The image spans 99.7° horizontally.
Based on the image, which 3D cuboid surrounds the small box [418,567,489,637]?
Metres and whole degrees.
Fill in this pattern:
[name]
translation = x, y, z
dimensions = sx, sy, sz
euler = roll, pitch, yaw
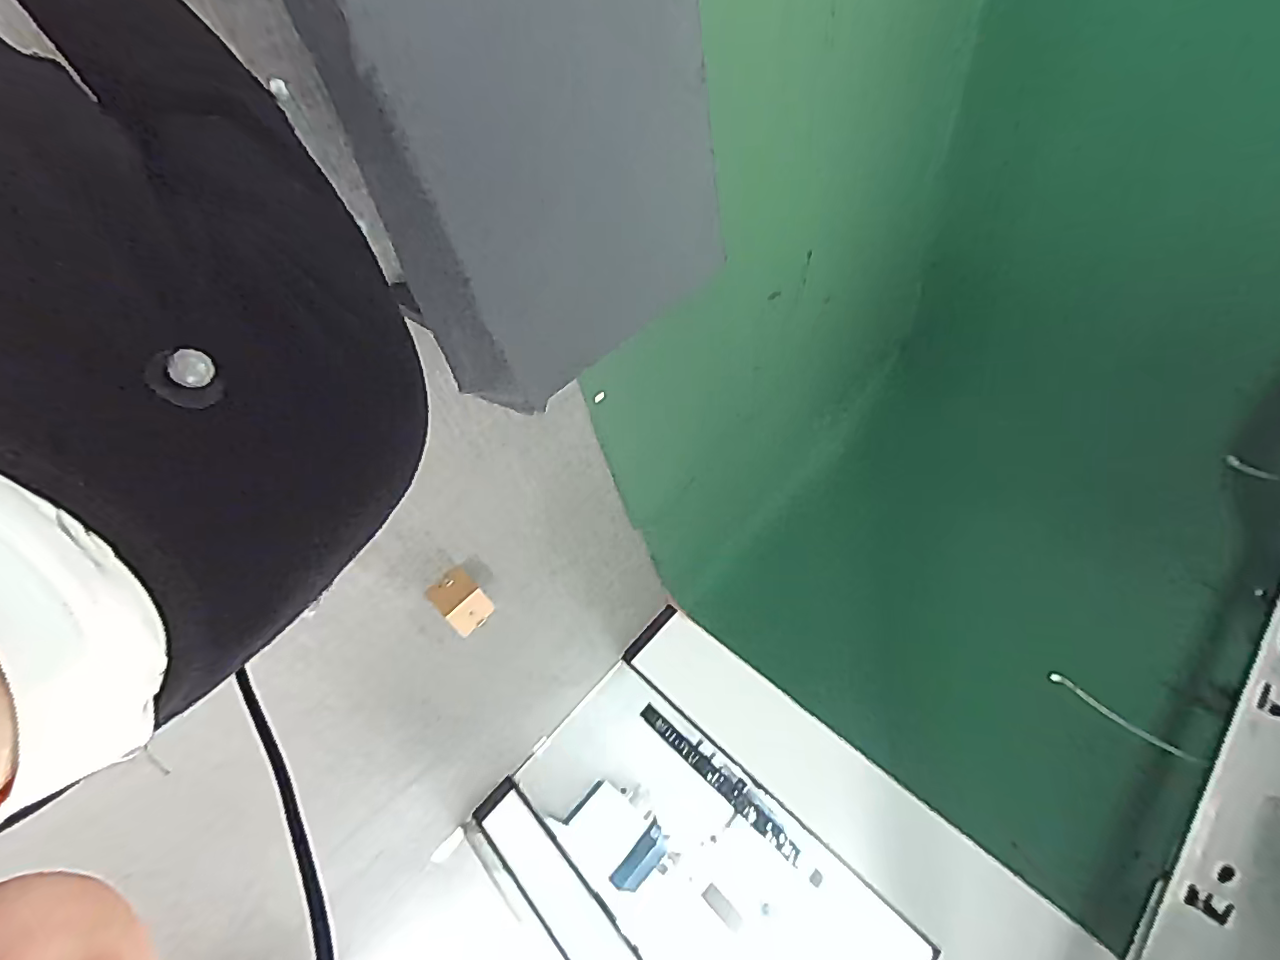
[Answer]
[small box]
translation = -0.732, 0.474, 2.120
dimensions = 0.168, 0.176, 0.179
euler = -42, 143, -24
